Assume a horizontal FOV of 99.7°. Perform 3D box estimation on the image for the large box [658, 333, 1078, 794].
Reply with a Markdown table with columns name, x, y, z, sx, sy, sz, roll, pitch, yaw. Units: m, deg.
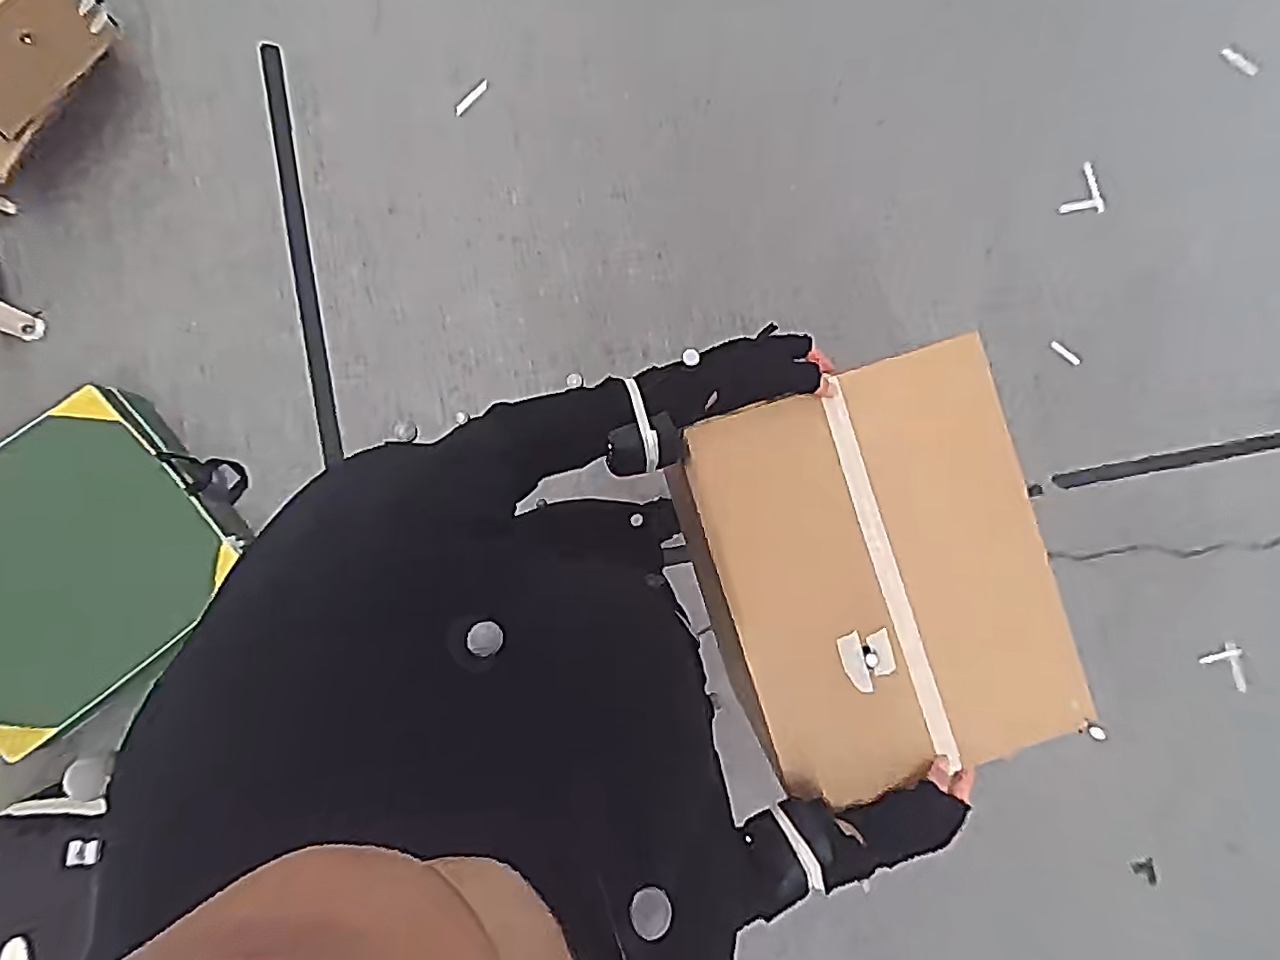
| name | x | y | z | sx | sy | sz | roll | pitch | yaw |
| --- | --- | --- | --- | --- | --- | --- | --- | --- | --- |
| large box | 0.237 | 0.080 | 0.692 | 0.320 | 0.320 | 0.408 | -18 | 92 | -1 |
